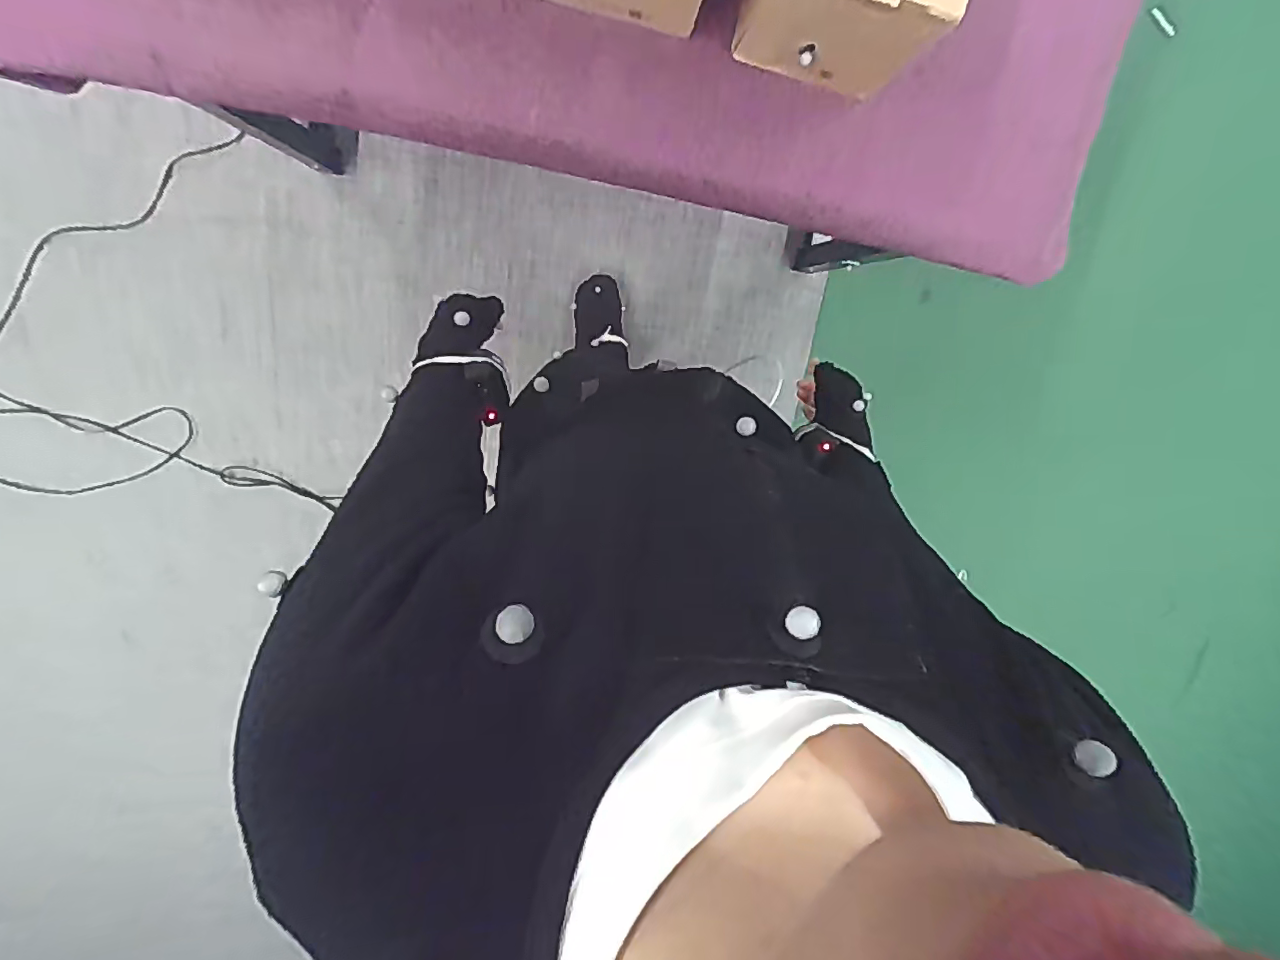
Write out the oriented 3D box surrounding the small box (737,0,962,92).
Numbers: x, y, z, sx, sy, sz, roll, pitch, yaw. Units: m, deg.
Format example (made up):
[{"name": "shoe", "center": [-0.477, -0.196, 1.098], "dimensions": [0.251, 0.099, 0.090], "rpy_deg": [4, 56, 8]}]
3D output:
[{"name": "small box", "center": [0.205, -0.517, 0.513], "dimensions": [0.168, 0.176, 0.179], "rpy_deg": [10, 105, -9]}]
